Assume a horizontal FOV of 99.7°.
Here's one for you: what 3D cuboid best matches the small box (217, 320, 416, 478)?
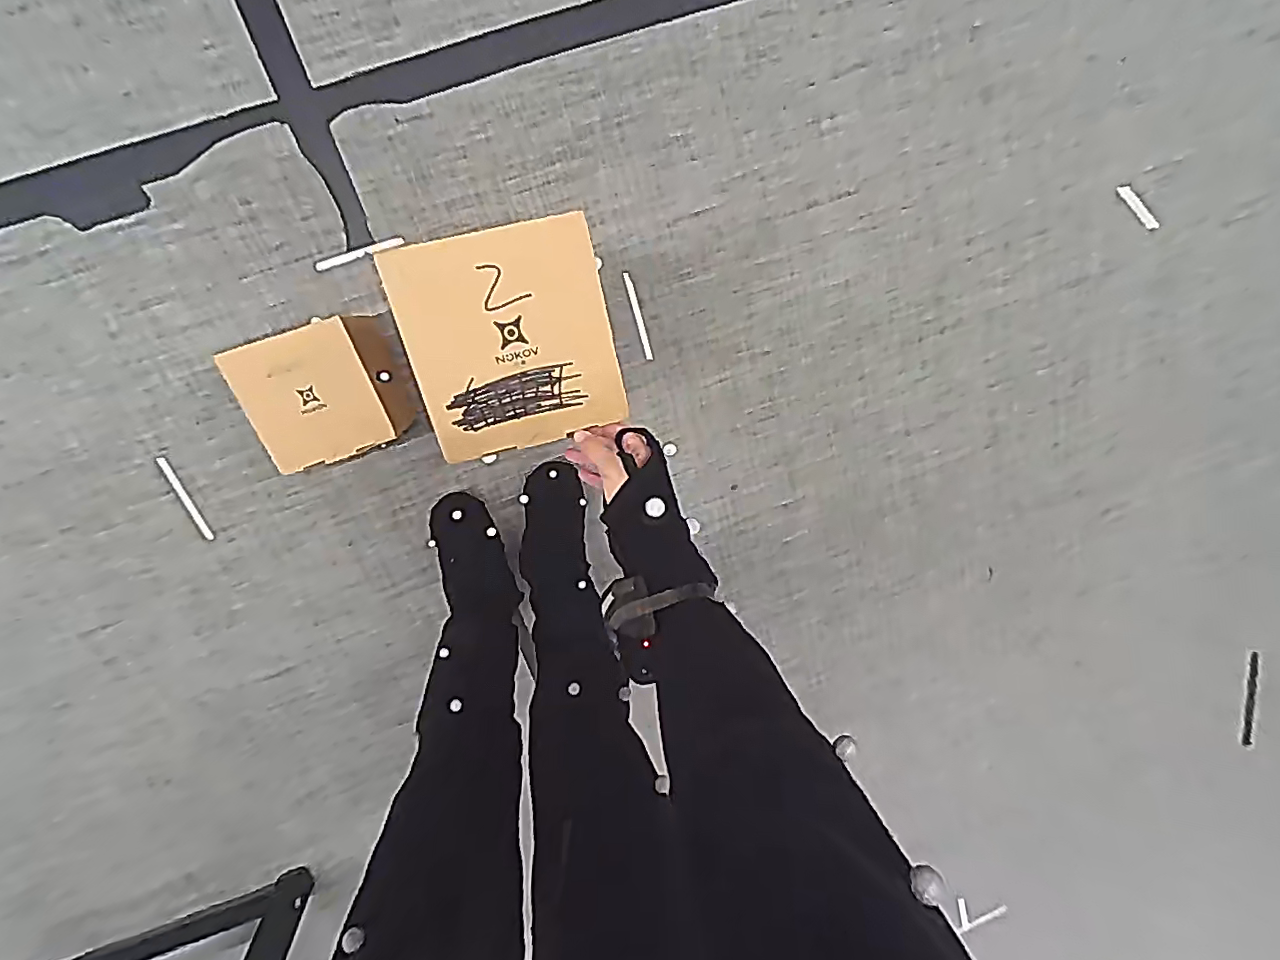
[{"bbox_3d":[-0.452,-0.128,0.794,0.168,0.176,0.179,-21,109,-6],"label":"small box"}]

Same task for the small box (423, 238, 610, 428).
[{"bbox_3d":[-0.144,-0.182,0.667,0.168,0.176,0.179,-16,109,-7],"label":"small box"}]
